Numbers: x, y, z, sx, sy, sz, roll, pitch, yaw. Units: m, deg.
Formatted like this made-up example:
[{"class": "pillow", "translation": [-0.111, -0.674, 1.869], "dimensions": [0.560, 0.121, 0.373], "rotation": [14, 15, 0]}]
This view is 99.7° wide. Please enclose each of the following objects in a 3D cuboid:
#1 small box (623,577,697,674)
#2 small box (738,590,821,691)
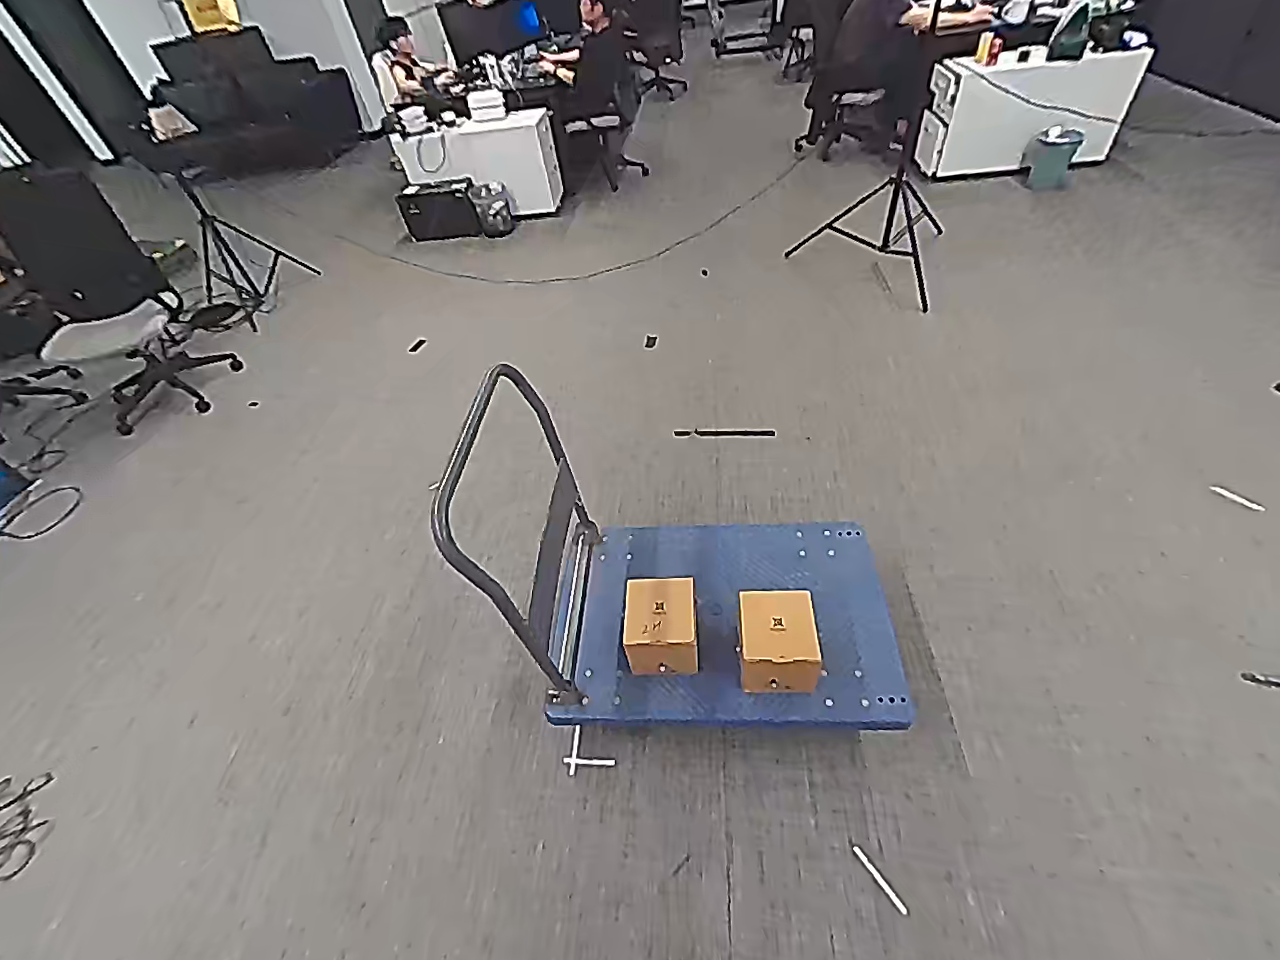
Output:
[{"class": "small box", "translation": [0.054, 0.360, 1.337], "dimensions": [0.168, 0.176, 0.179], "rotation": [-4, 47, 7]}, {"class": "small box", "translation": [0.320, 0.378, 1.277], "dimensions": [0.168, 0.176, 0.179], "rotation": [-3, 47, 7]}]
